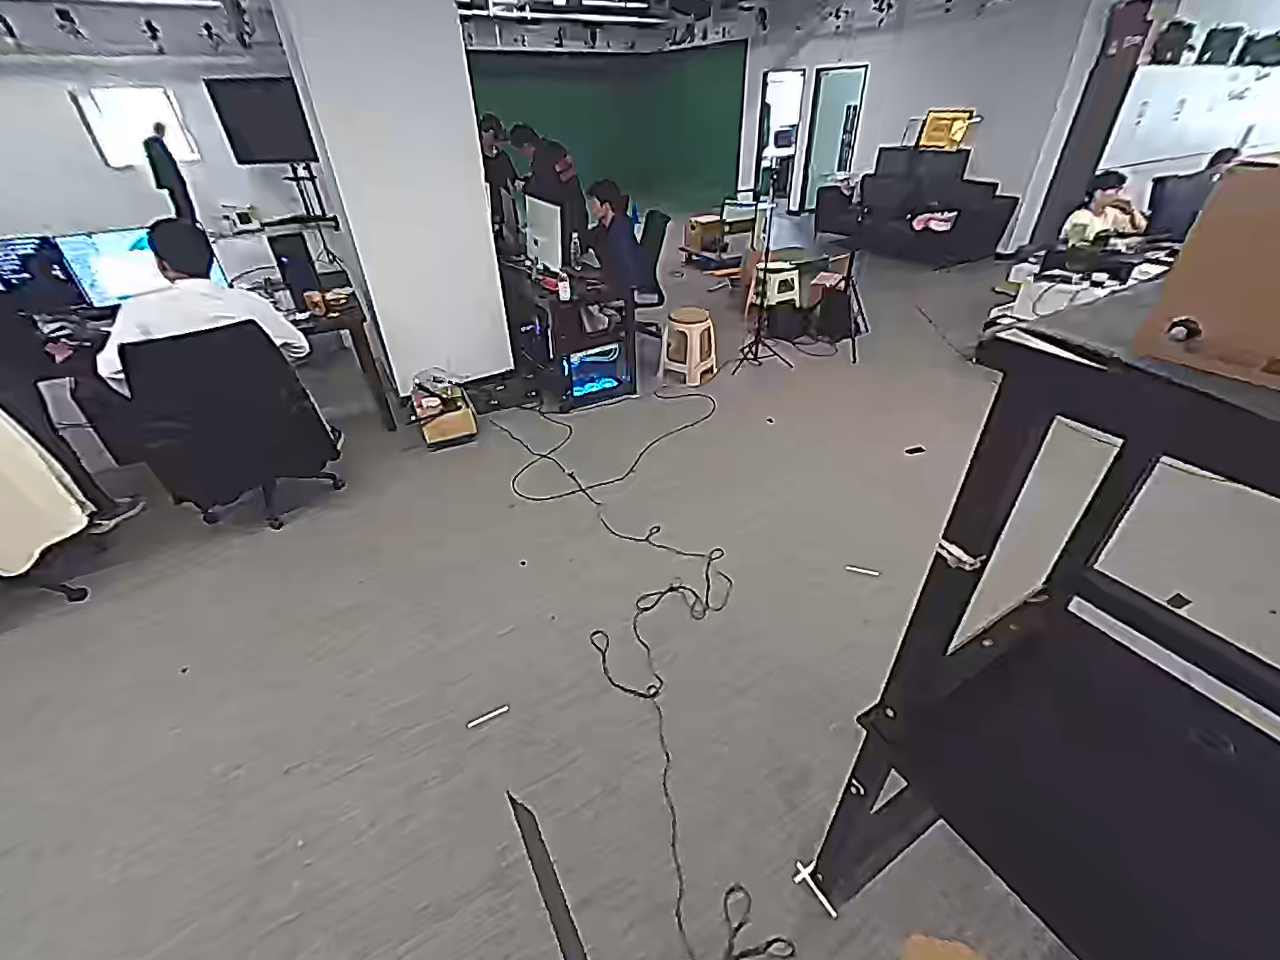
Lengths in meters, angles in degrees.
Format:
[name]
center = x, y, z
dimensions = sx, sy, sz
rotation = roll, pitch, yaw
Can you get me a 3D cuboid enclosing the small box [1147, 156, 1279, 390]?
[small box]
center = 0.608, -0.182, 0.476
dimensions = 0.179, 0.176, 0.168
rotation = -20, 40, -25
